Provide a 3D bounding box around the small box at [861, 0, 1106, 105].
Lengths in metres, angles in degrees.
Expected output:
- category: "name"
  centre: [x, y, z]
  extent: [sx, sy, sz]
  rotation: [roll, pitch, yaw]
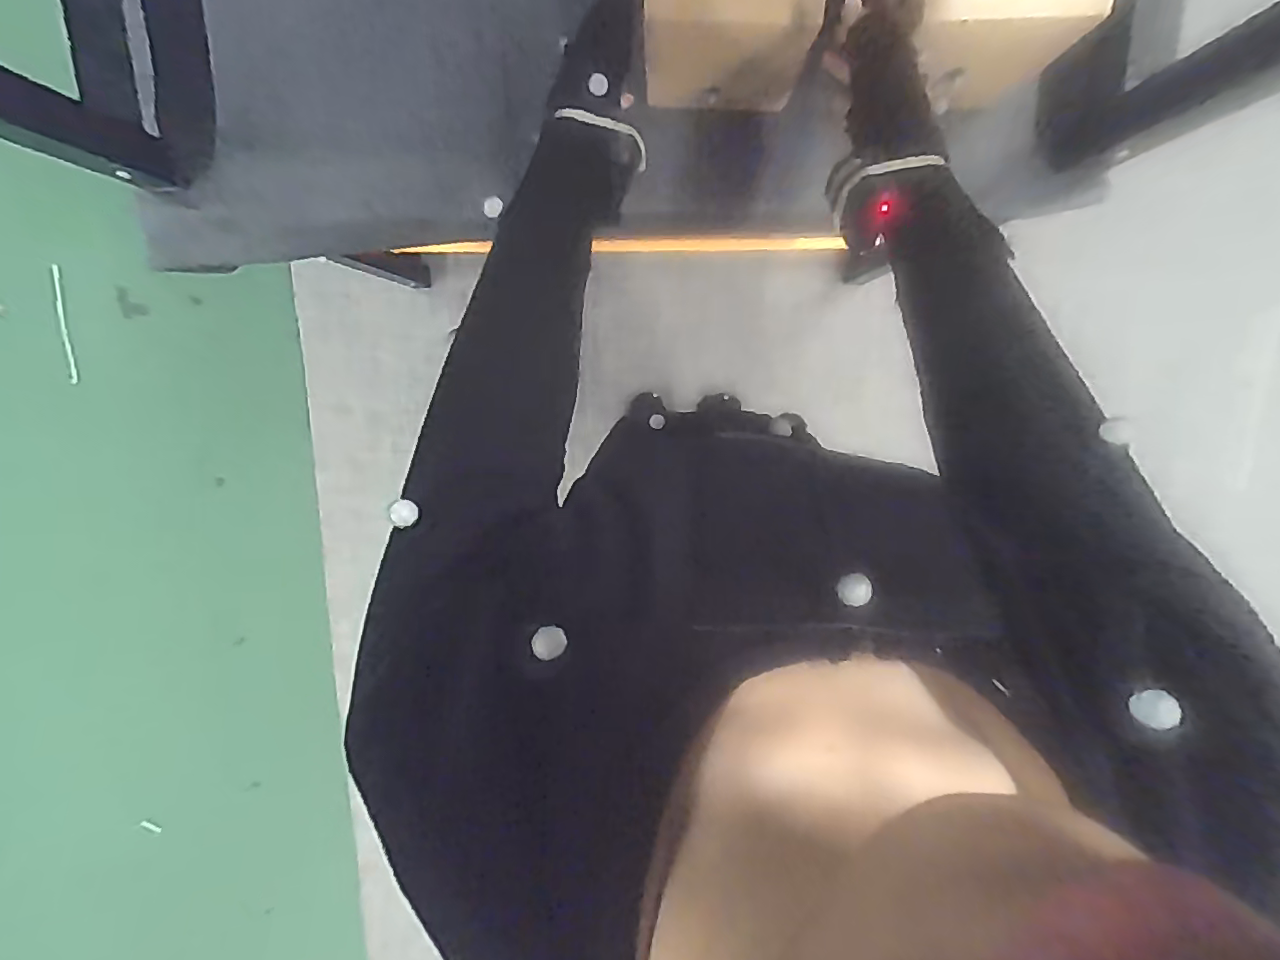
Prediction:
- category: "small box"
  centre: [0.338, -0.512, 0.551]
  extent: [0.168, 0.176, 0.179]
  rotation: [0, 100, 3]
